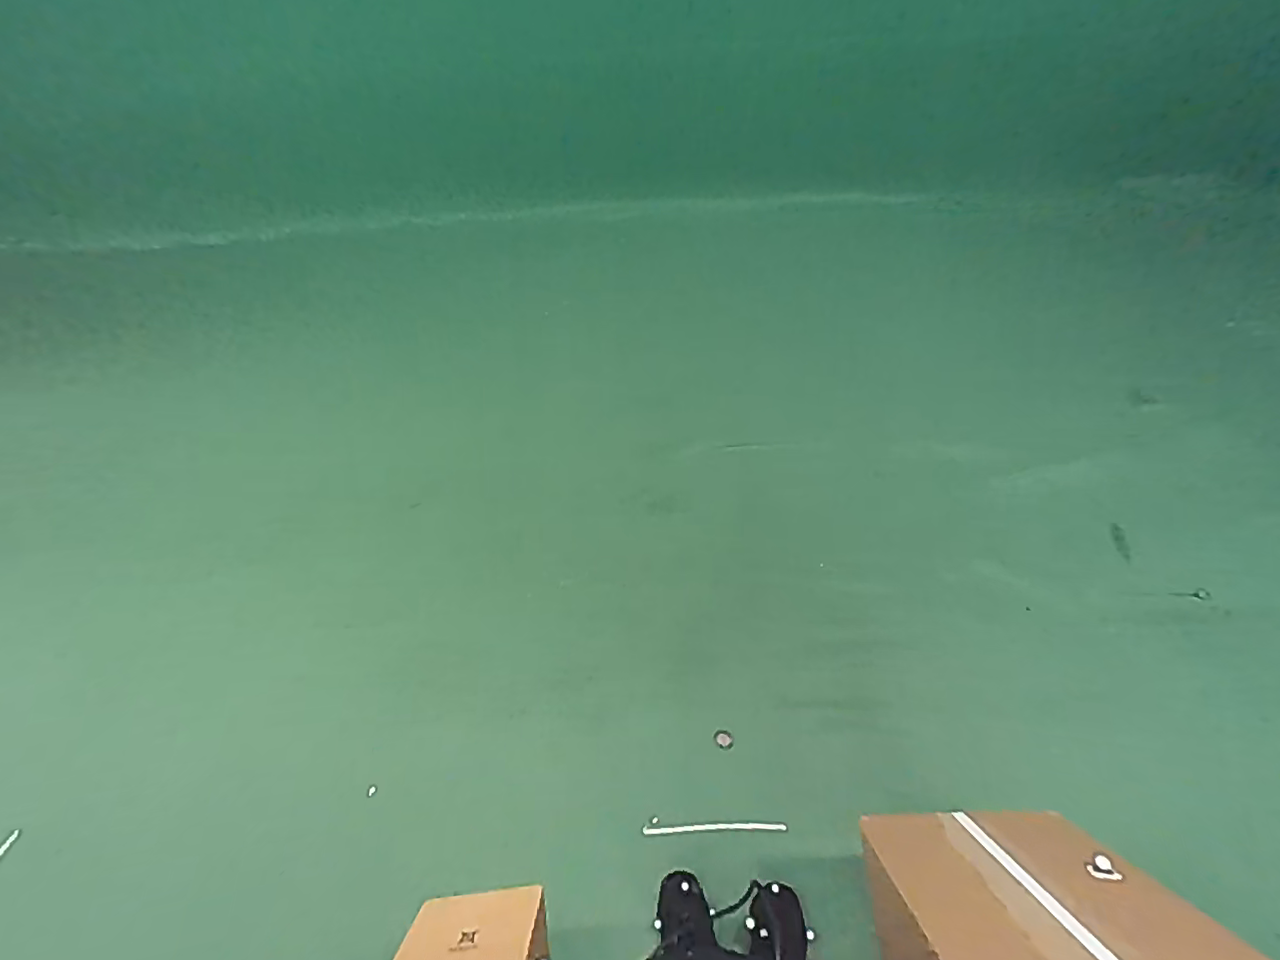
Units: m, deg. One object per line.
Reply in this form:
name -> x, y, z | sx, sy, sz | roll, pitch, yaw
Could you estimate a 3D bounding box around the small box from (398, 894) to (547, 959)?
small box -> -0.206, 0.657, 0.658 | 0.168, 0.179, 0.176 | -6, 85, -2
